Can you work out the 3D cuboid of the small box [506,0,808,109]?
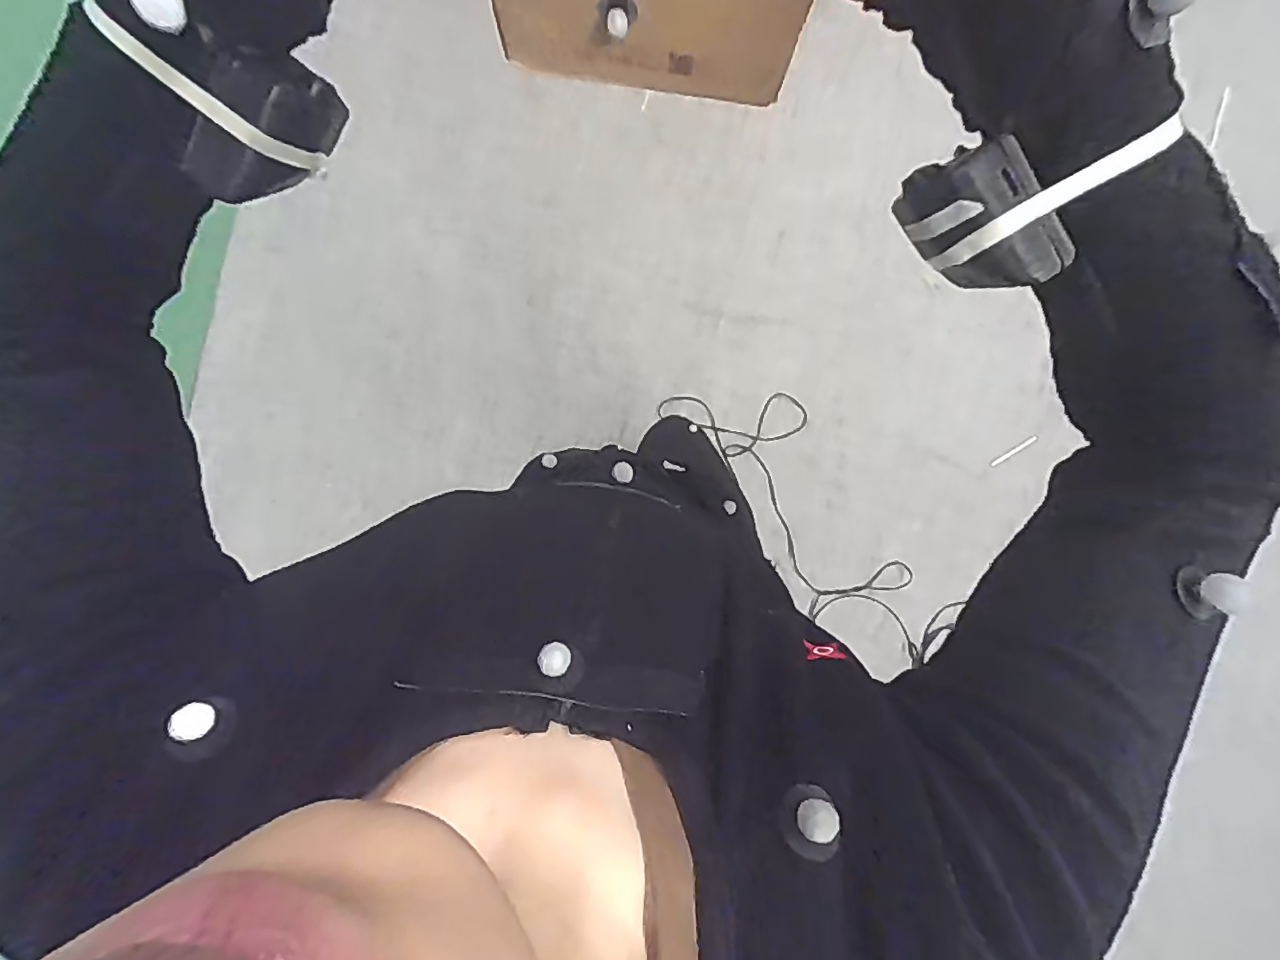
[{"bbox_3d":[0.014,-0.328,0.257,0.168,0.176,0.179,7,90,-1],"label":"small box"}]
